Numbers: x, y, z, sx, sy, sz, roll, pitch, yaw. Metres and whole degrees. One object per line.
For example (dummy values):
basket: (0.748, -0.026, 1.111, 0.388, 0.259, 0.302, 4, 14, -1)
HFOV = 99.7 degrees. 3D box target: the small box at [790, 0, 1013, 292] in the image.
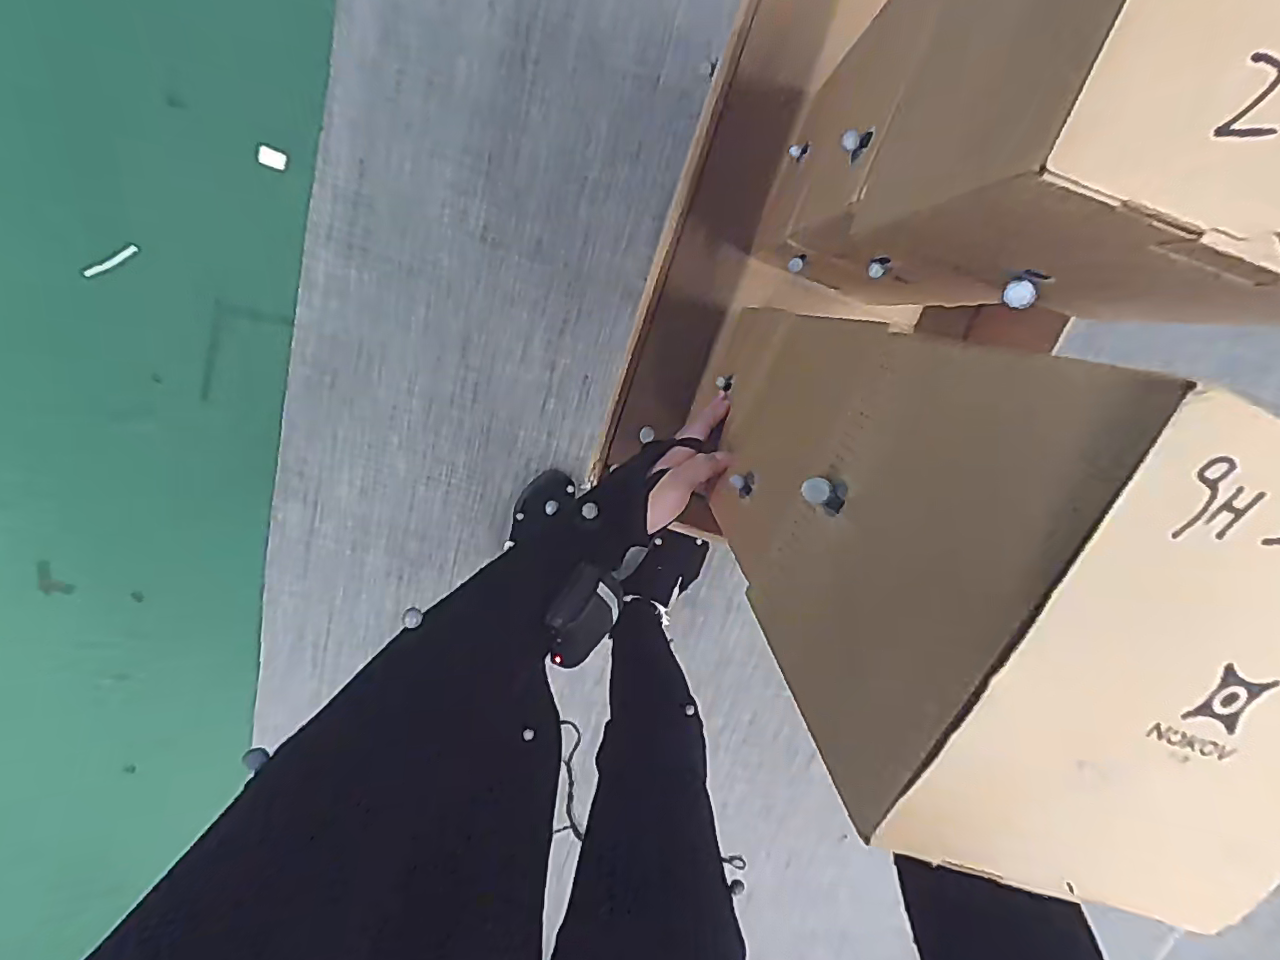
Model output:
small box: (0.225, -0.245, 0.378, 0.168, 0.176, 0.179, 18, 108, -5)

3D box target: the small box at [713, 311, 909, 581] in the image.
small box: (0.166, -0.013, 0.409, 0.168, 0.176, 0.179, 20, 106, -10)

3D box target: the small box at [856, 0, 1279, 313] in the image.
small box: (0.219, -0.181, 0.225, 0.168, 0.176, 0.179, 17, 108, -4)

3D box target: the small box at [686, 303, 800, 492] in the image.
small box: (0.156, -0.070, 0.561, 0.168, 0.176, 0.179, 19, 106, -9)
